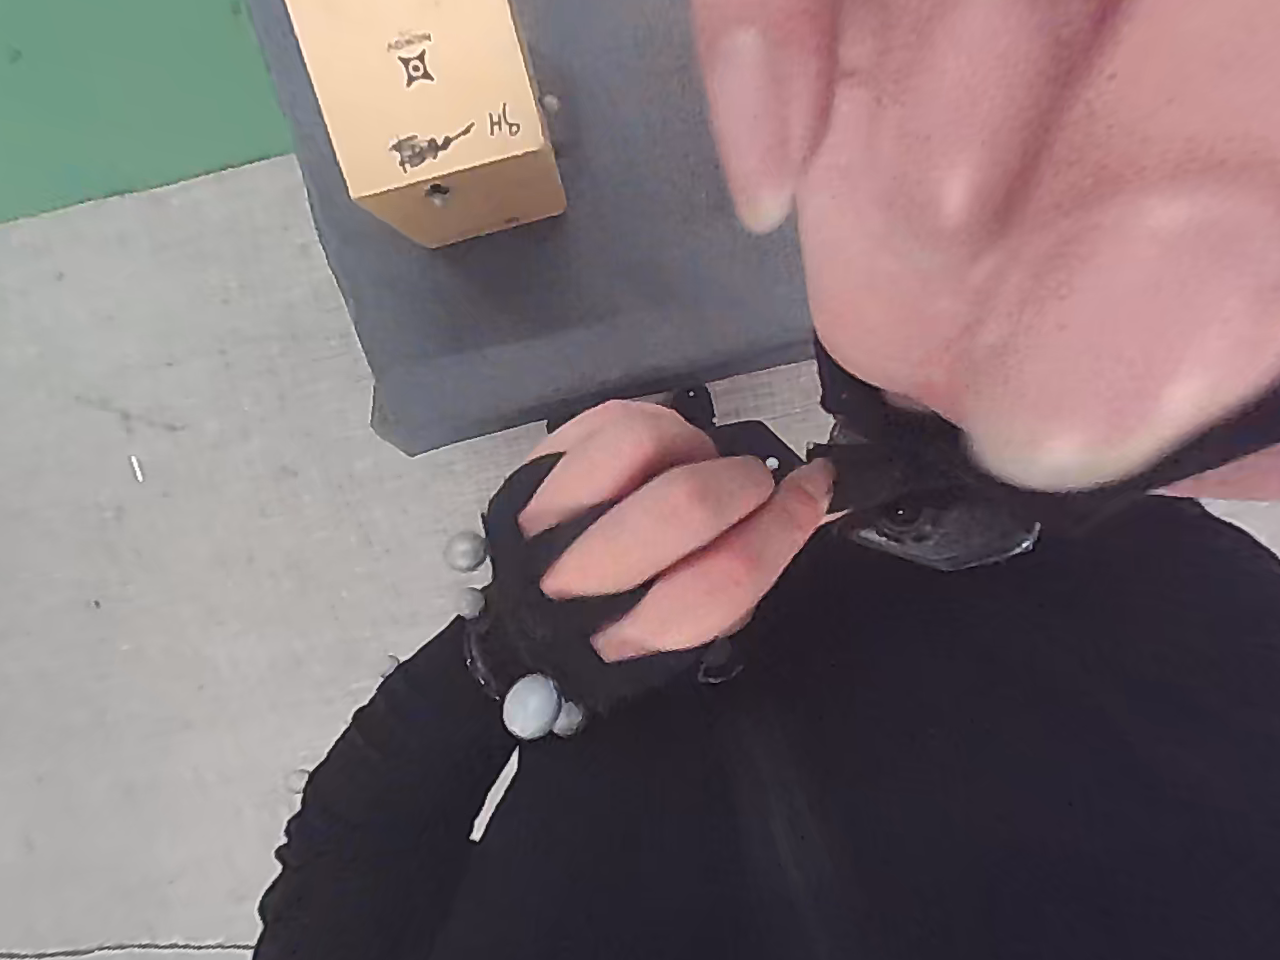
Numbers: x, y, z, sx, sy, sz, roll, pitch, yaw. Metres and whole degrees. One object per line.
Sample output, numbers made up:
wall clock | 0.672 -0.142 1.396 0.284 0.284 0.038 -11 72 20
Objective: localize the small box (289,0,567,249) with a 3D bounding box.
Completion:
small box | -0.173 -0.338 0.495 0.168 0.176 0.179 -14 100 2
